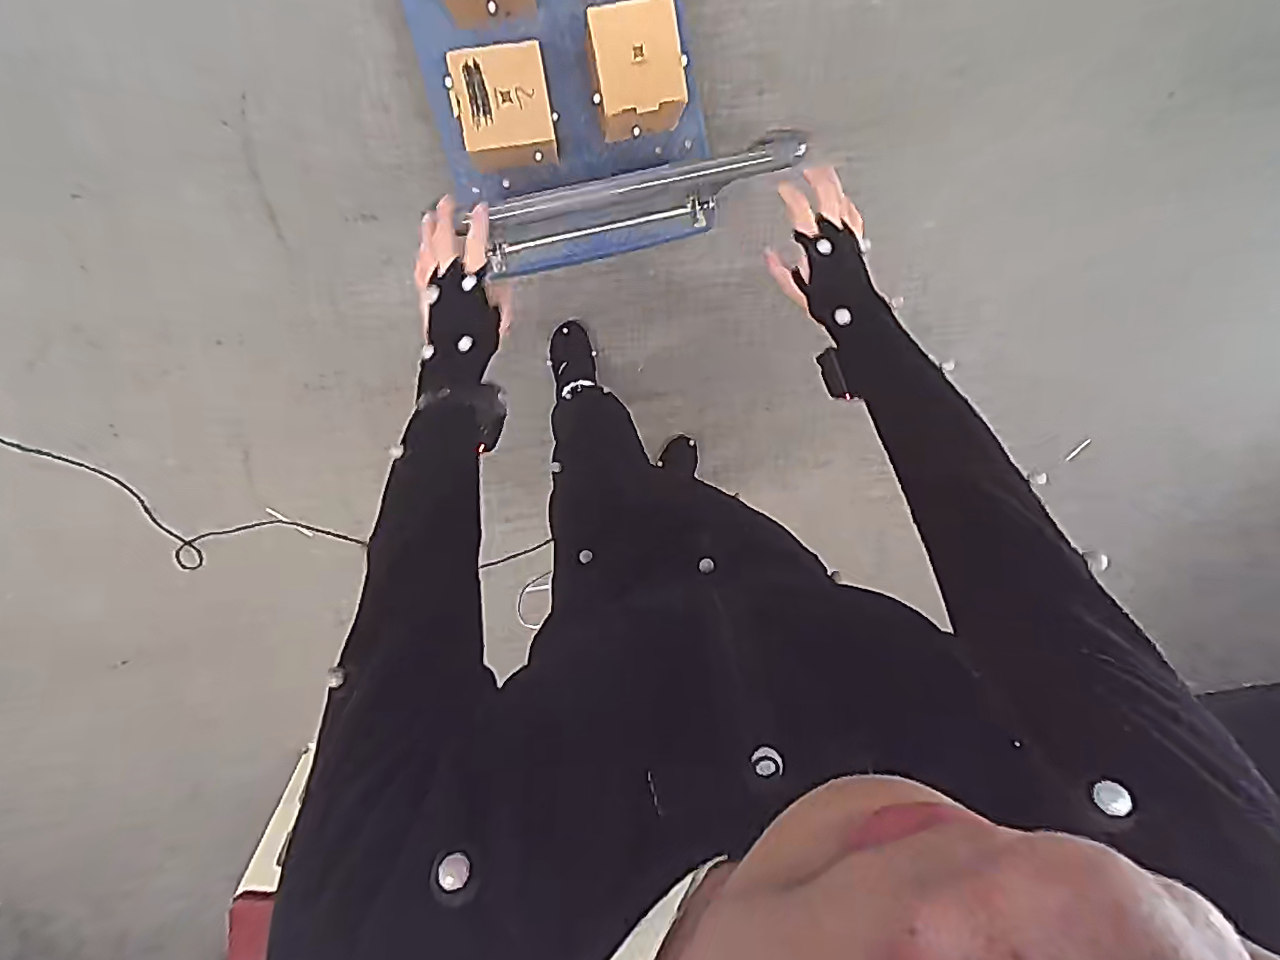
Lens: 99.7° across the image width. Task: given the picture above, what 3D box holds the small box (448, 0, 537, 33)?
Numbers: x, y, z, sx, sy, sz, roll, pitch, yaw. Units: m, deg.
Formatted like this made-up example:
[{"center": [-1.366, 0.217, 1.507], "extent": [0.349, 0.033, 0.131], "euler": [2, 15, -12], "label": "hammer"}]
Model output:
[{"center": [-0.306, -1.011, 1.046], "extent": [0.168, 0.176, 0.179], "euler": [-17, 106, -1], "label": "small box"}]

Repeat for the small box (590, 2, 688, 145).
[{"center": [-0.008, -0.832, 1.124], "extent": [0.168, 0.176, 0.179], "euler": [-12, 107, -2], "label": "small box"}]
